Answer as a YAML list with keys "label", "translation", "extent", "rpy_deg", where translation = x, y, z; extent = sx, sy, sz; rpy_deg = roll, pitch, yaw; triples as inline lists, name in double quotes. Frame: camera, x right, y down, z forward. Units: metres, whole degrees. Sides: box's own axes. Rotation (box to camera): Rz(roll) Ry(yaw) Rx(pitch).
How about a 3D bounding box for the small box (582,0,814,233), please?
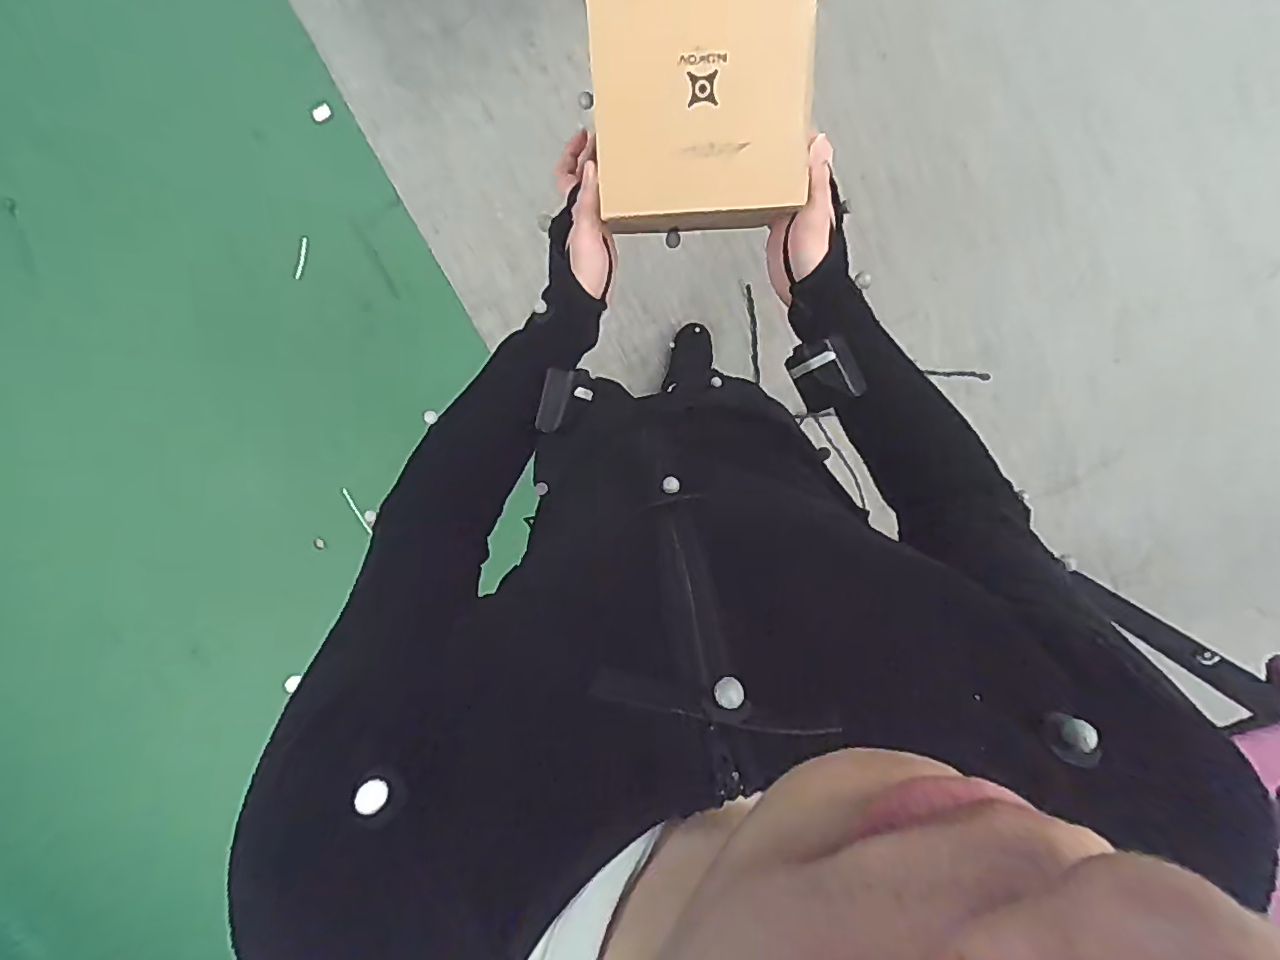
- label: "small box"
  translation: [0.041, -0.320, 0.466]
  extent: [0.168, 0.176, 0.179]
  rpy_deg: [-2, 110, 2]
